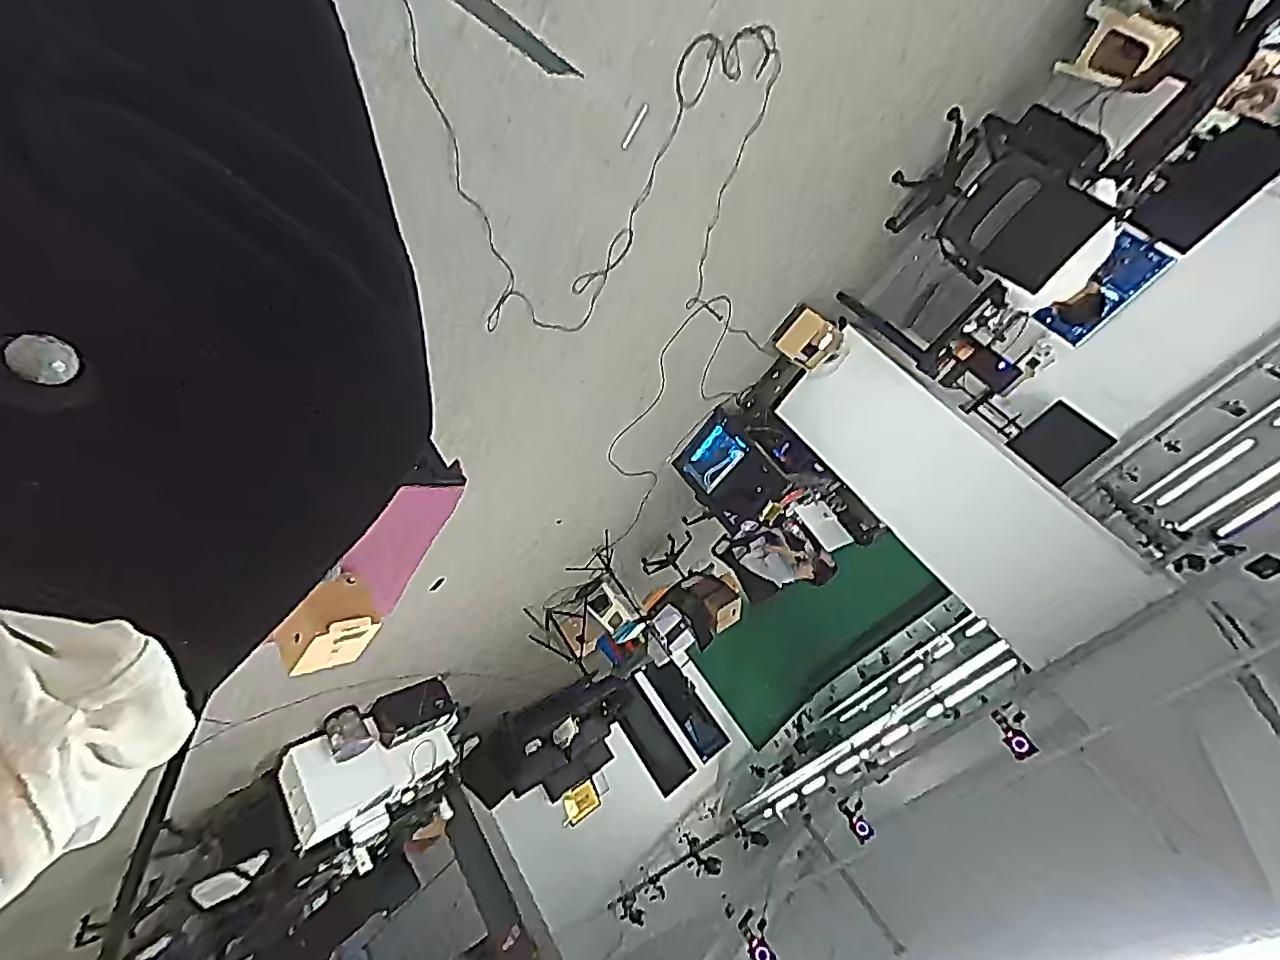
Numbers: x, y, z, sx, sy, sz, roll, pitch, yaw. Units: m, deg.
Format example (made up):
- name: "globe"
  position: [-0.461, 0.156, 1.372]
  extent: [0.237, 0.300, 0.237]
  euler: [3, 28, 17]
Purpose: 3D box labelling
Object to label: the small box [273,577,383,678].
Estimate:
- name: "small box"
  position: [-0.792, 0.360, 1.365]
  extent: [0.179, 0.176, 0.168]
  euler: [-49, 154, 22]
